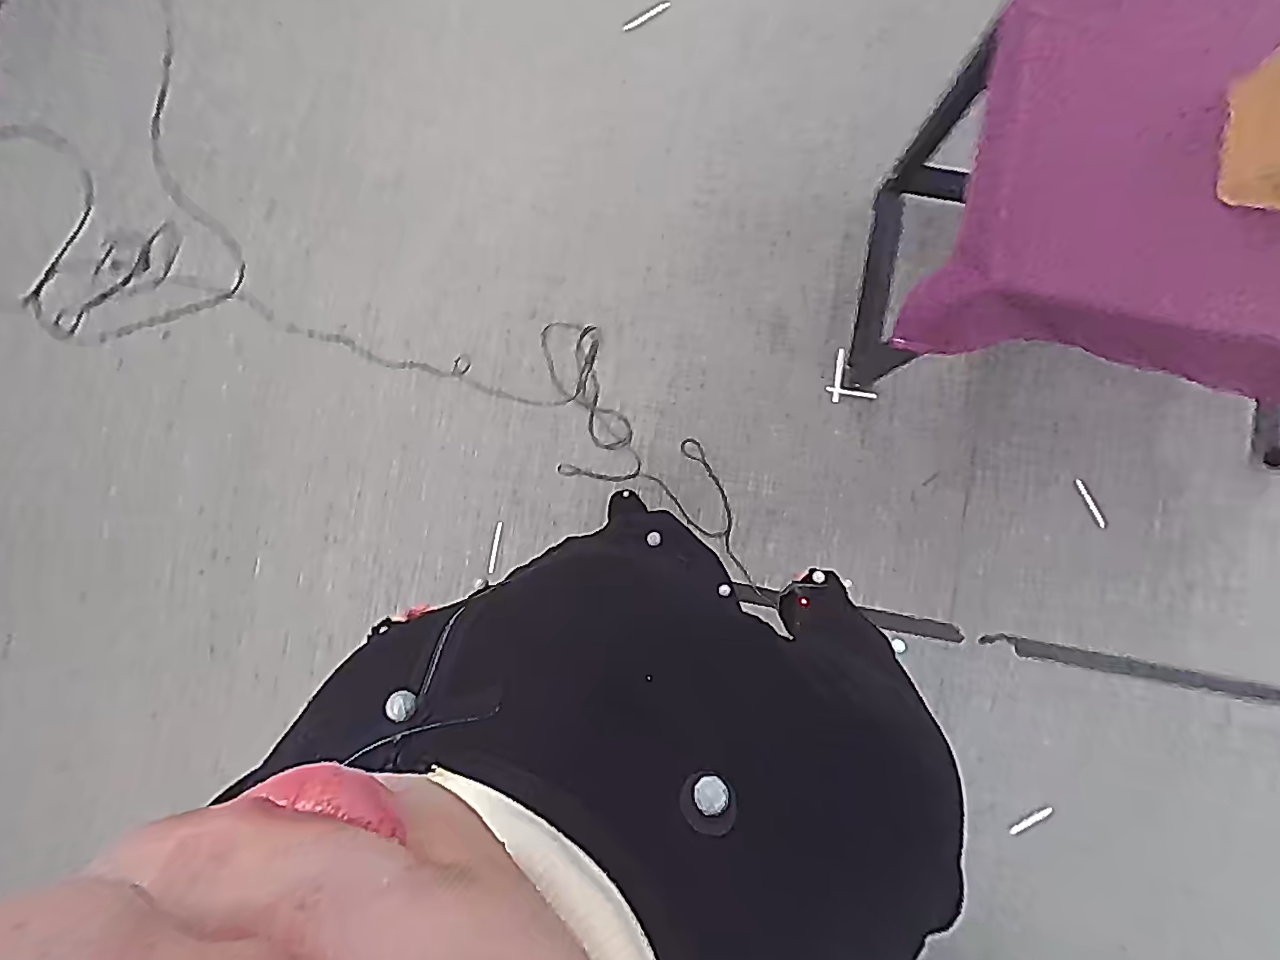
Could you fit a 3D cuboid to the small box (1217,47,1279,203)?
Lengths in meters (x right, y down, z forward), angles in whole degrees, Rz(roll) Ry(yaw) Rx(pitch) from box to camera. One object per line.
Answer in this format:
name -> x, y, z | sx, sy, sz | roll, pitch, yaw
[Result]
small box -> 0.908, -0.484, 0.690 | 0.168, 0.176, 0.179 | 9, 89, 2
